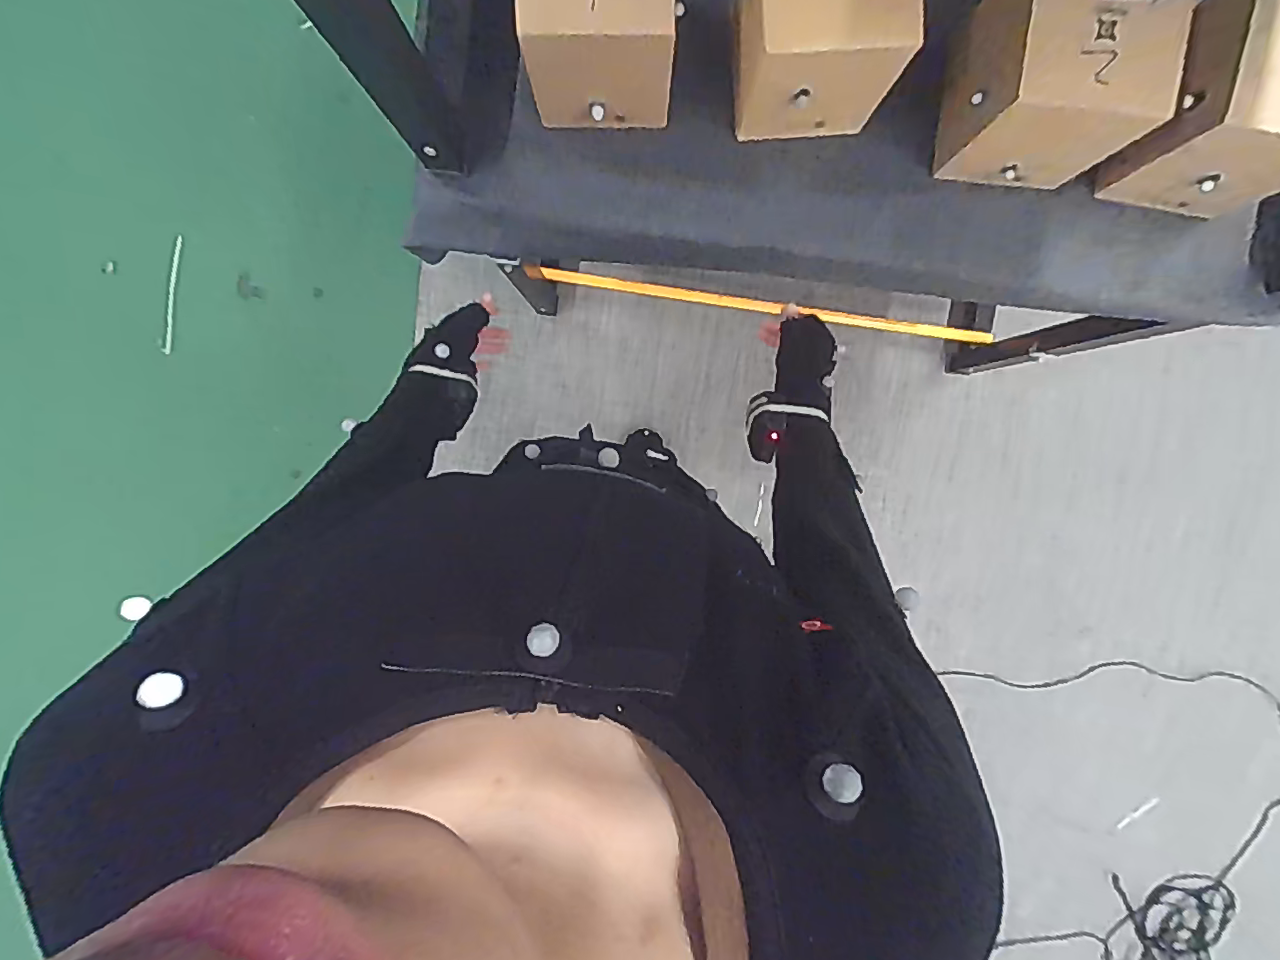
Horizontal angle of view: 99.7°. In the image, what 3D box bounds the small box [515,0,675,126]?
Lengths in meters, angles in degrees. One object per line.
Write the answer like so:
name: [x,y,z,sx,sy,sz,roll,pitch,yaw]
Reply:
small box: [-0.046,-0.551,0.627,0.168,0.176,0.179,0,95,0]
